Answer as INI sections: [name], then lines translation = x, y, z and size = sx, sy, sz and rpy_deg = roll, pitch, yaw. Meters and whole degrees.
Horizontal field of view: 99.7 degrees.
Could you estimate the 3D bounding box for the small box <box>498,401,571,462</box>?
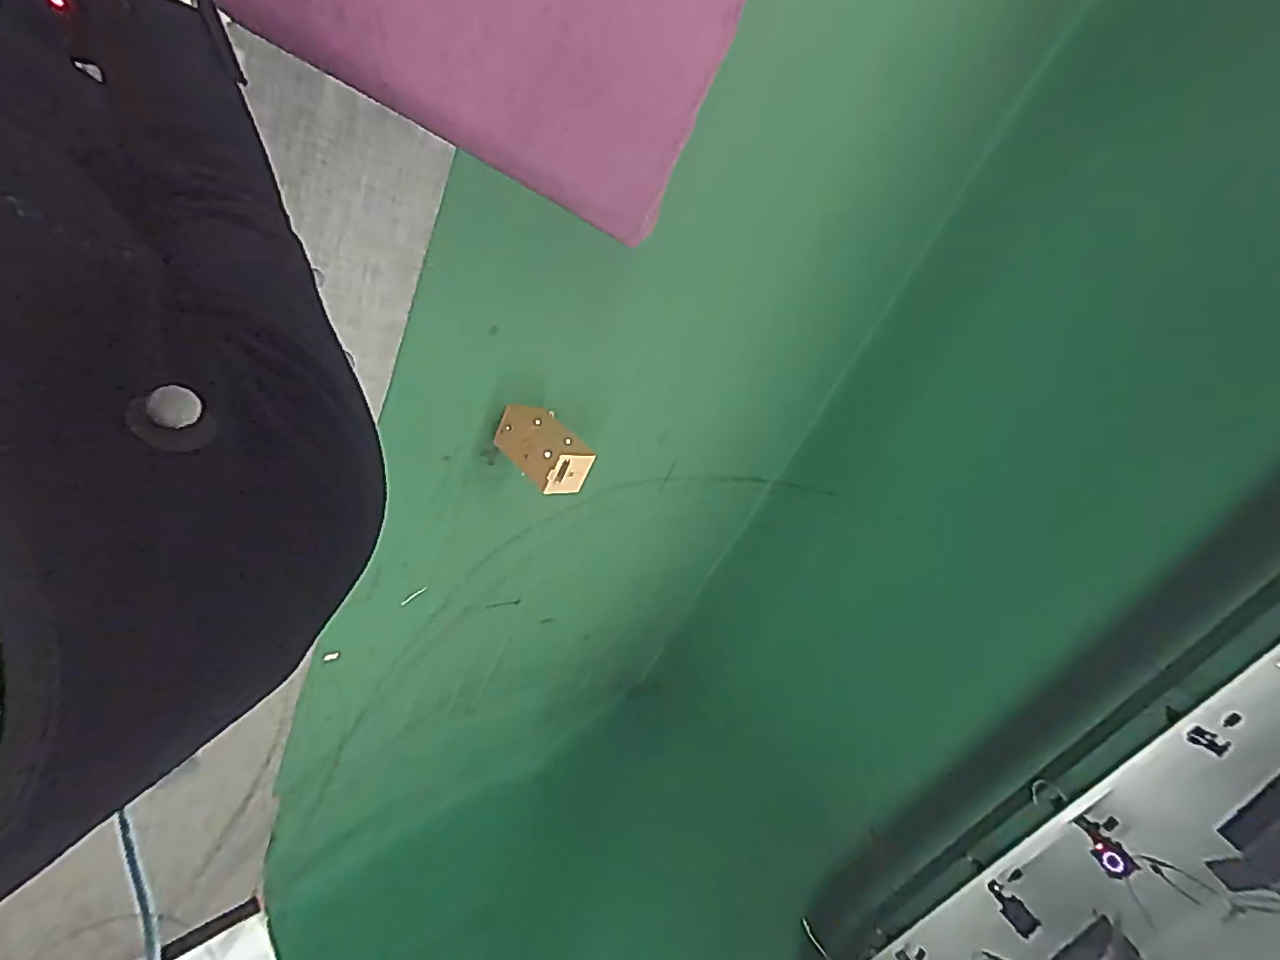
[small box]
translation = -0.397, -0.183, 2.025
size = 0.179, 0.176, 0.168
rpy_deg = -2, 127, -50
